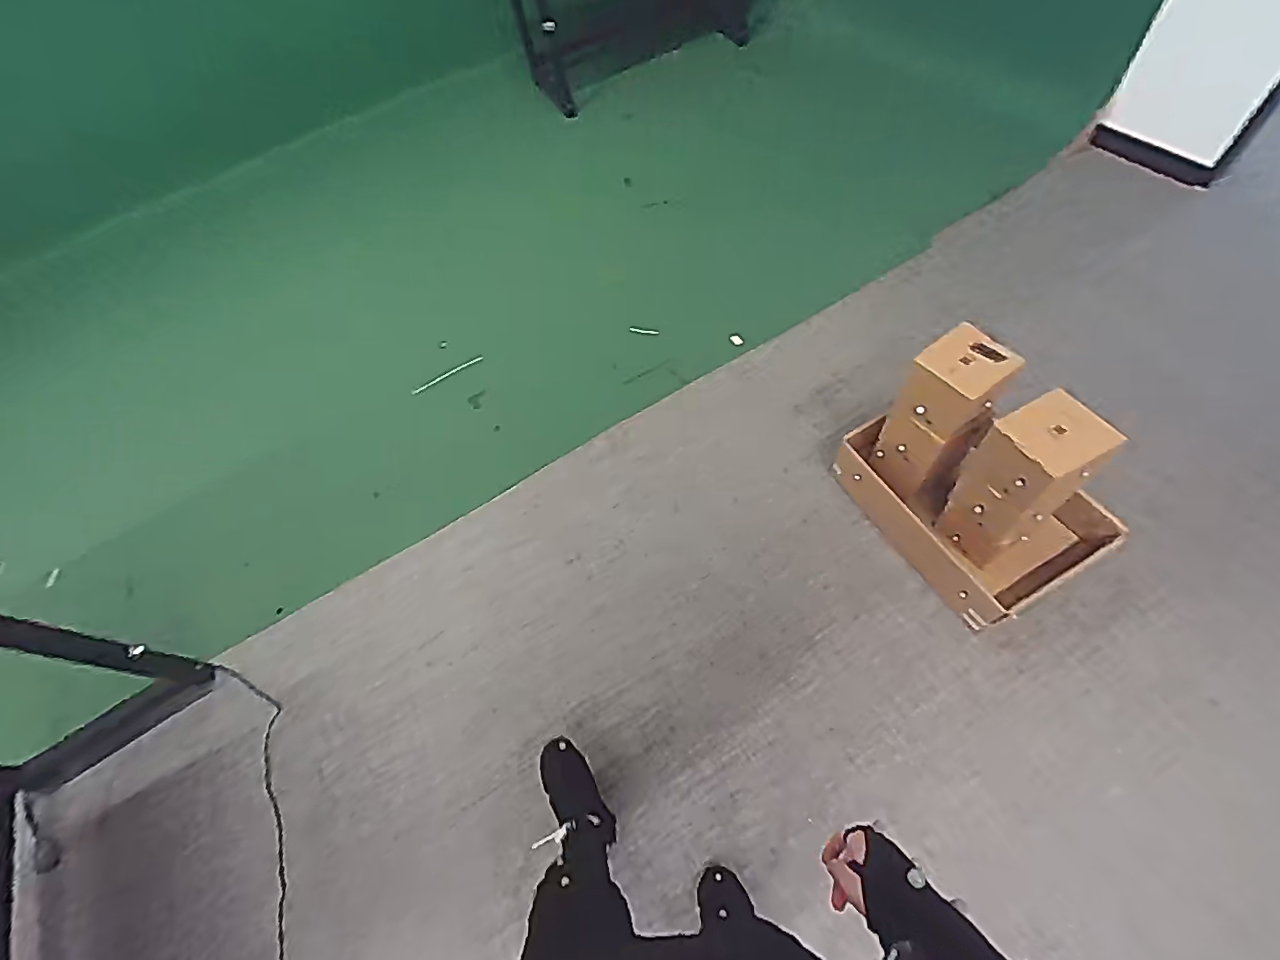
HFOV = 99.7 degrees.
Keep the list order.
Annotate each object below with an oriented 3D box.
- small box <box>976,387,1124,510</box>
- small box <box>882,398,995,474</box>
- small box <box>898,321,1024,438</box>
[{"bbox_3d":[0.873,-0.062,1.180,0.179,0.176,0.168,-27,58,-5],"label":"small box"},{"bbox_3d":[0.777,-0.149,1.431,0.179,0.176,0.168,-29,61,-8],"label":"small box"},{"bbox_3d":[0.754,-0.237,1.293,0.179,0.176,0.168,-34,62,-10],"label":"small box"}]
